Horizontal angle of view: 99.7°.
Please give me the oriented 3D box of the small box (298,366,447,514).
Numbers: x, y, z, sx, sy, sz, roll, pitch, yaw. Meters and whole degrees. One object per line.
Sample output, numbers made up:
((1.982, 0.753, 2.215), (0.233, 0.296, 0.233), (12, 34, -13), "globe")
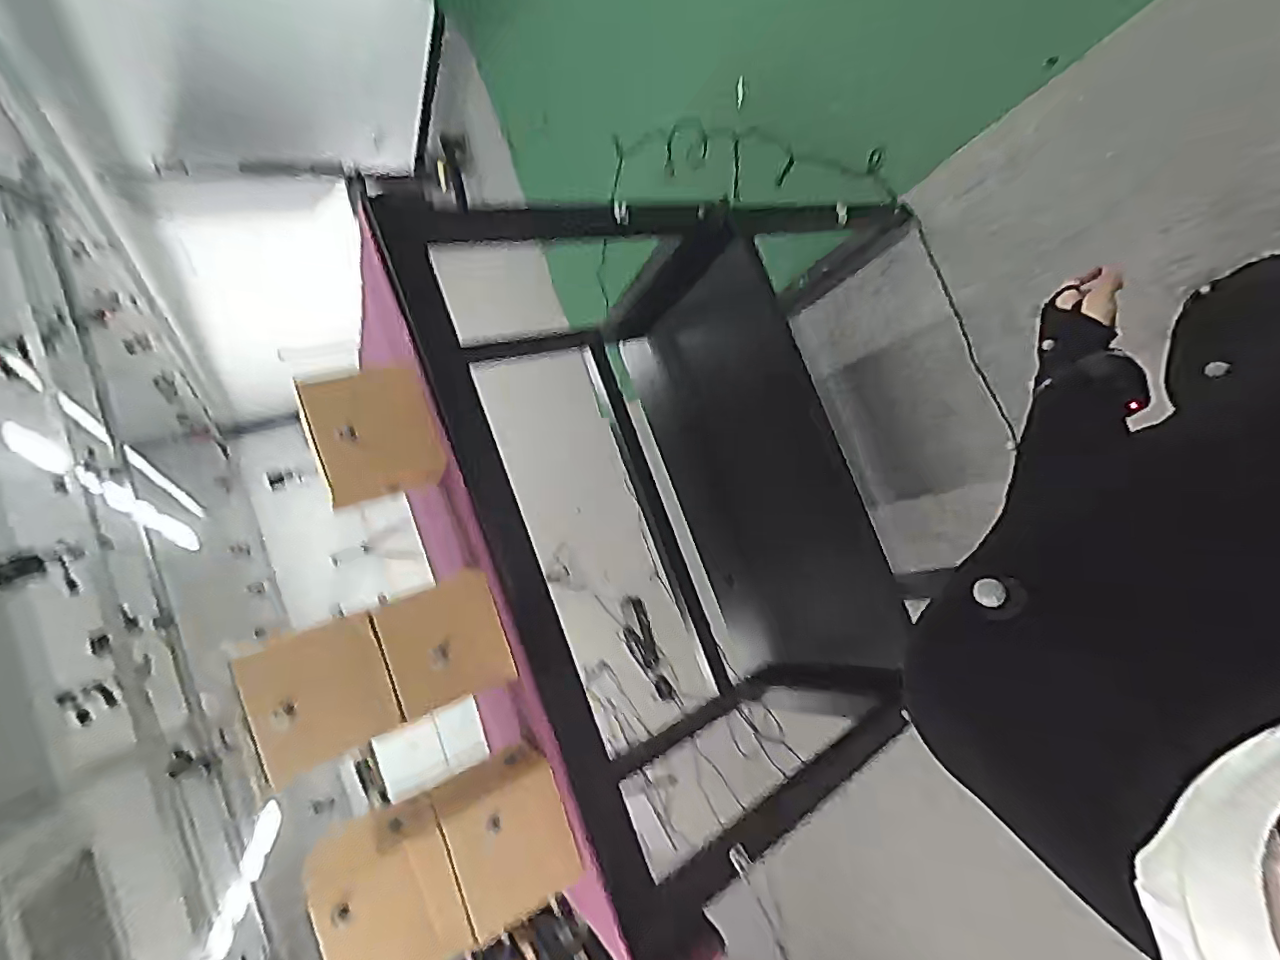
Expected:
((-0.427, -0.064, 0.876), (0.168, 0.176, 0.179), (-29, 80, 58), "small box")

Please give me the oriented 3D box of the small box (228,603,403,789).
((-0.452, 0.293, 0.777), (0.168, 0.176, 0.179), (-20, 87, 60), "small box")

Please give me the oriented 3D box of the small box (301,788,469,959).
((-0.354, 0.583, 0.764), (0.168, 0.176, 0.179), (-21, 85, 60), "small box")

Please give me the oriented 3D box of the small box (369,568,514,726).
((-0.316, 0.253, 0.858), (0.168, 0.176, 0.179), (-23, 85, 60), "small box")
